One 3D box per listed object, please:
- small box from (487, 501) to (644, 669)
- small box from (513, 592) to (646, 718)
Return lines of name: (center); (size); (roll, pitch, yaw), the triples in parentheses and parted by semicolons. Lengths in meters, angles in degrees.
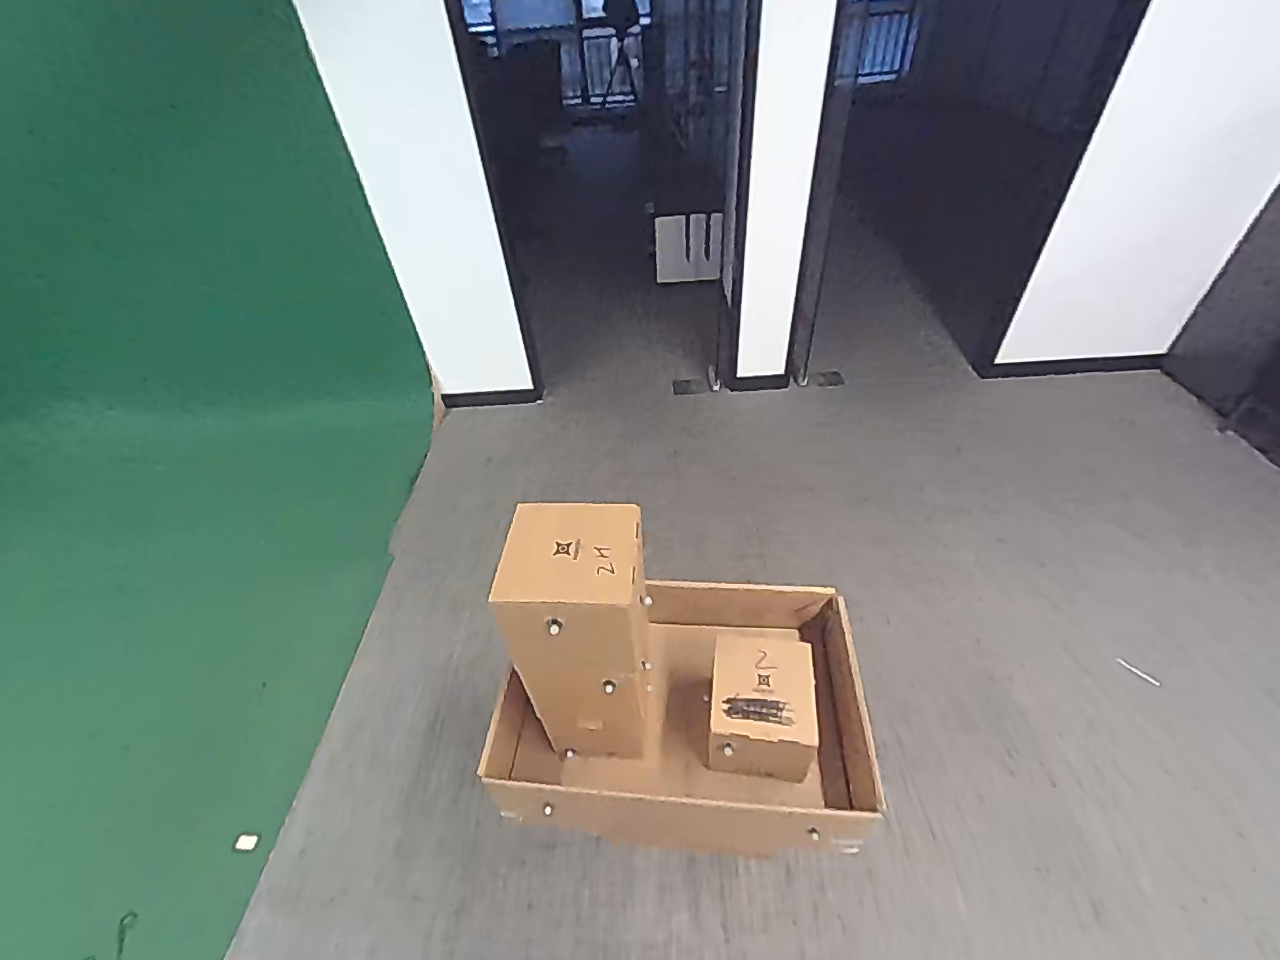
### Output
small box: (-0.089, 0.147, 0.753); (0.179, 0.176, 0.168); (2, 44, 4)
small box: (-0.085, 0.265, 0.868); (0.179, 0.176, 0.168); (2, 44, 4)
